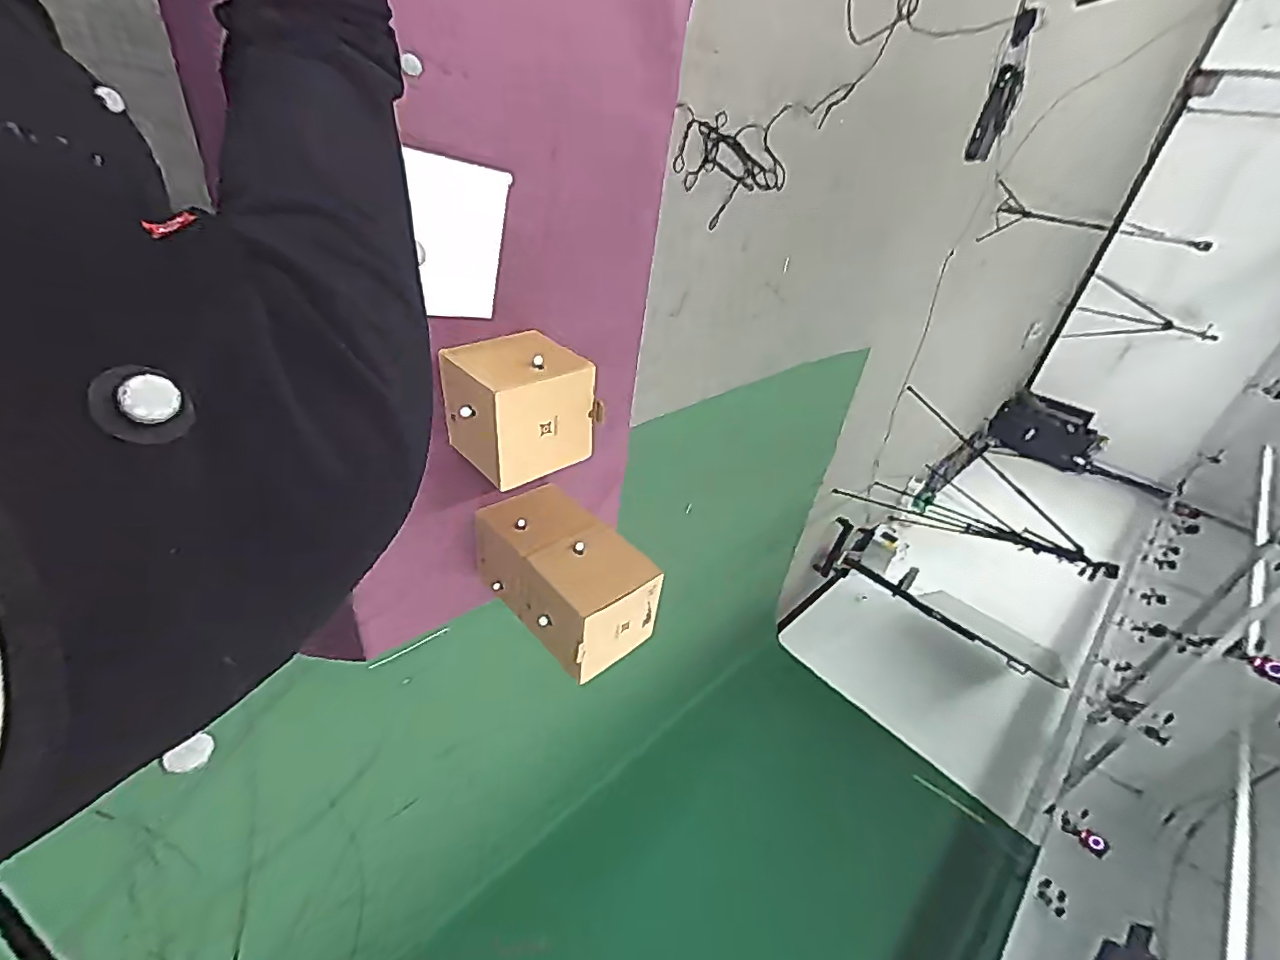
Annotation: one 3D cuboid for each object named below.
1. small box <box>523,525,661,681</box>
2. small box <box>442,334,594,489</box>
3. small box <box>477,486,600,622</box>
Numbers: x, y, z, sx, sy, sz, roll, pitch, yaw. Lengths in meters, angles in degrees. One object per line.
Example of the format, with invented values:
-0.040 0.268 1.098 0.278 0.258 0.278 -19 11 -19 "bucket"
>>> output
-0.091 0.208 0.956 0.179 0.176 0.168 -22 134 -38 "small box"
-0.195 -0.117 0.853 0.179 0.176 0.168 -25 136 -38 "small box"
-0.203 0.135 1.051 0.179 0.176 0.168 -22 134 -39 "small box"
